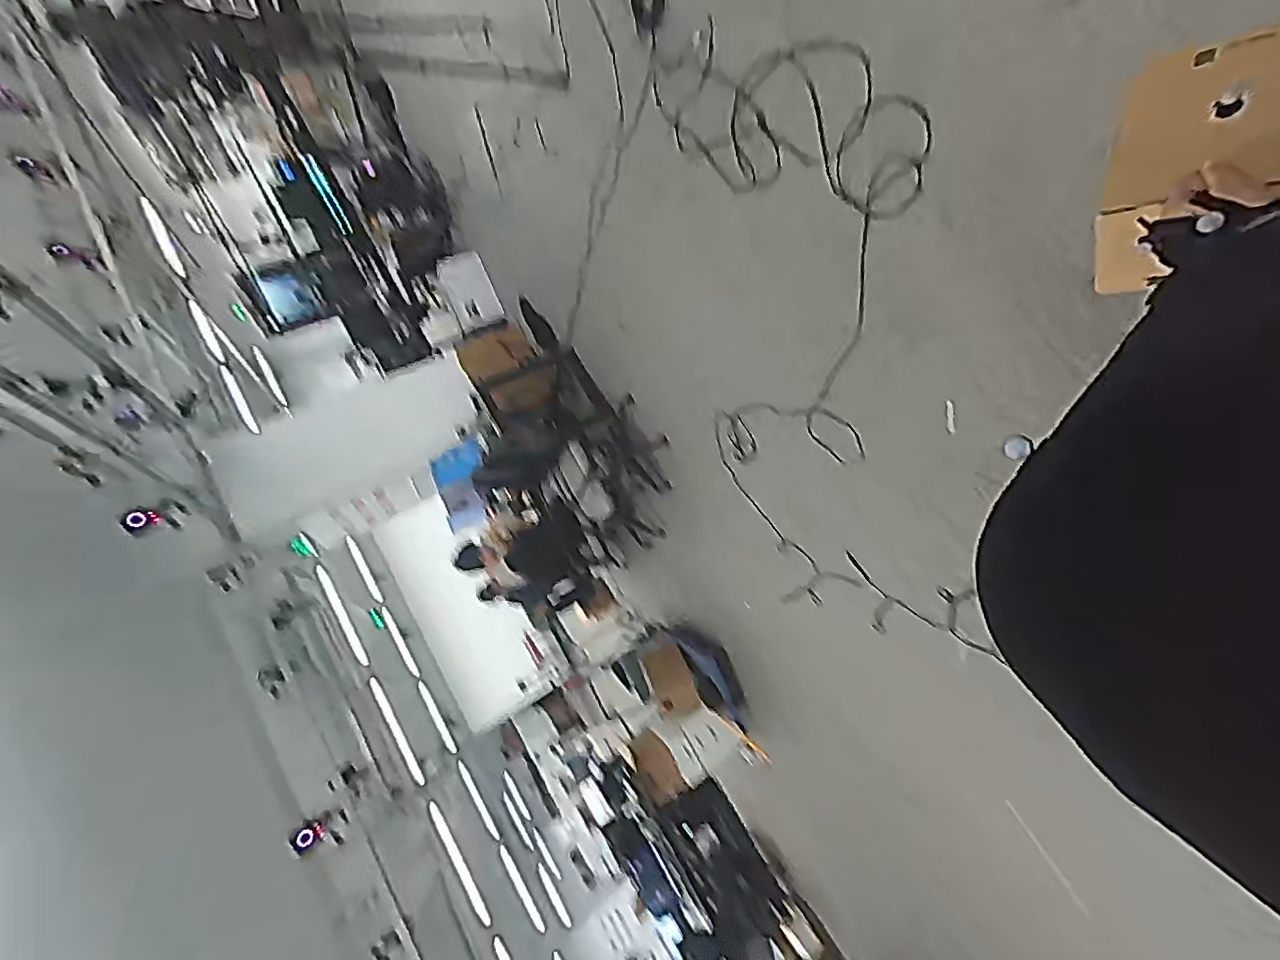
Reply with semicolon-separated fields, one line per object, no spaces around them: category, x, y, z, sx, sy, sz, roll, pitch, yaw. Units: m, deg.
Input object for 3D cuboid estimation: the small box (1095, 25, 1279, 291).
small box;0.591;-0.326;0.566;0.168;0.179;0.176;7;82;41
